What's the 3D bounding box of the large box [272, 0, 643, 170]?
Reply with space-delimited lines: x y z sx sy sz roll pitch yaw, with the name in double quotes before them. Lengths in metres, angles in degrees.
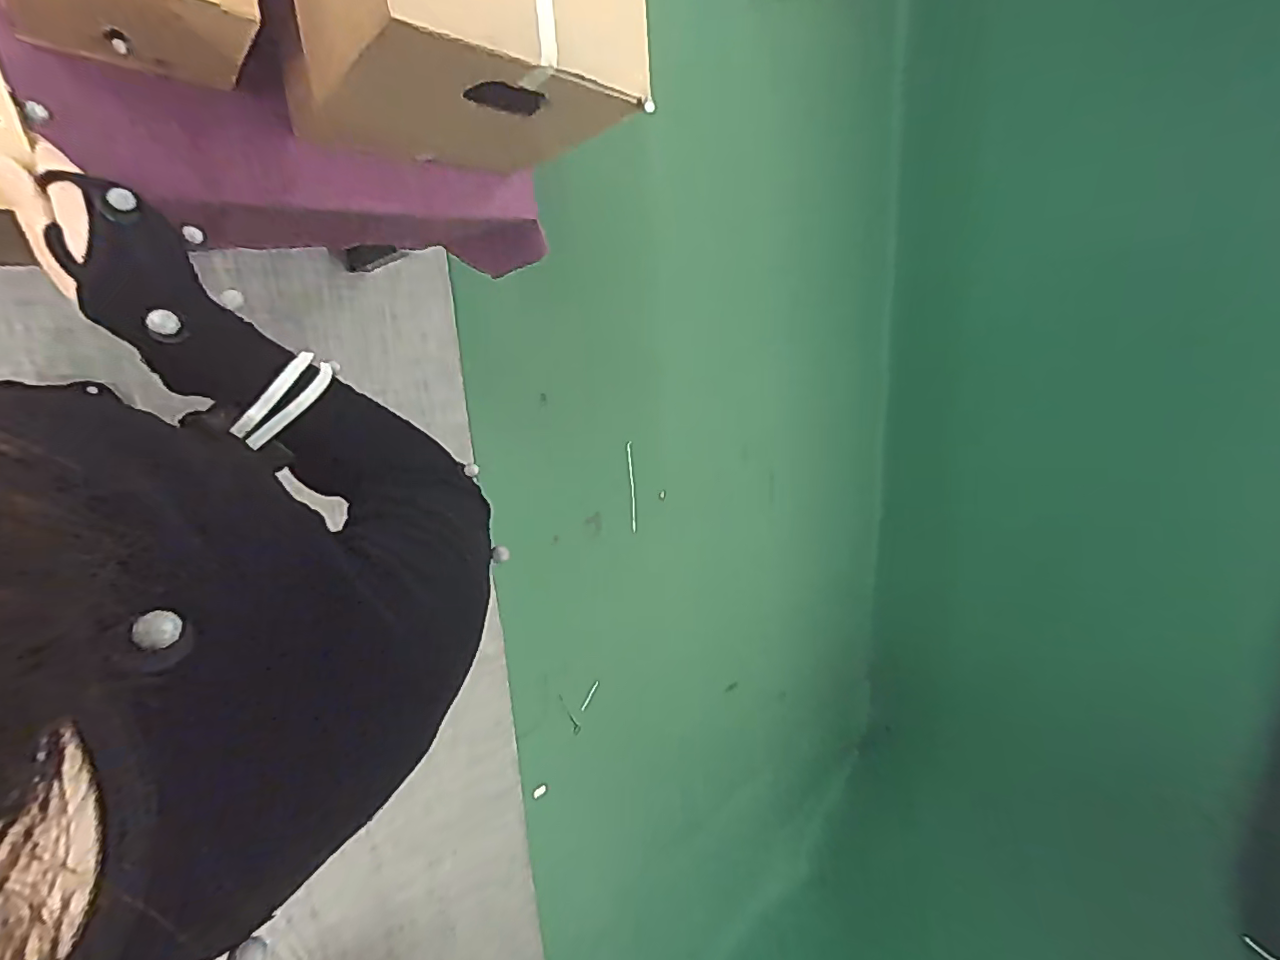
"large box" -0.222 -0.632 0.613 0.320 0.320 0.408 -18 111 -42
